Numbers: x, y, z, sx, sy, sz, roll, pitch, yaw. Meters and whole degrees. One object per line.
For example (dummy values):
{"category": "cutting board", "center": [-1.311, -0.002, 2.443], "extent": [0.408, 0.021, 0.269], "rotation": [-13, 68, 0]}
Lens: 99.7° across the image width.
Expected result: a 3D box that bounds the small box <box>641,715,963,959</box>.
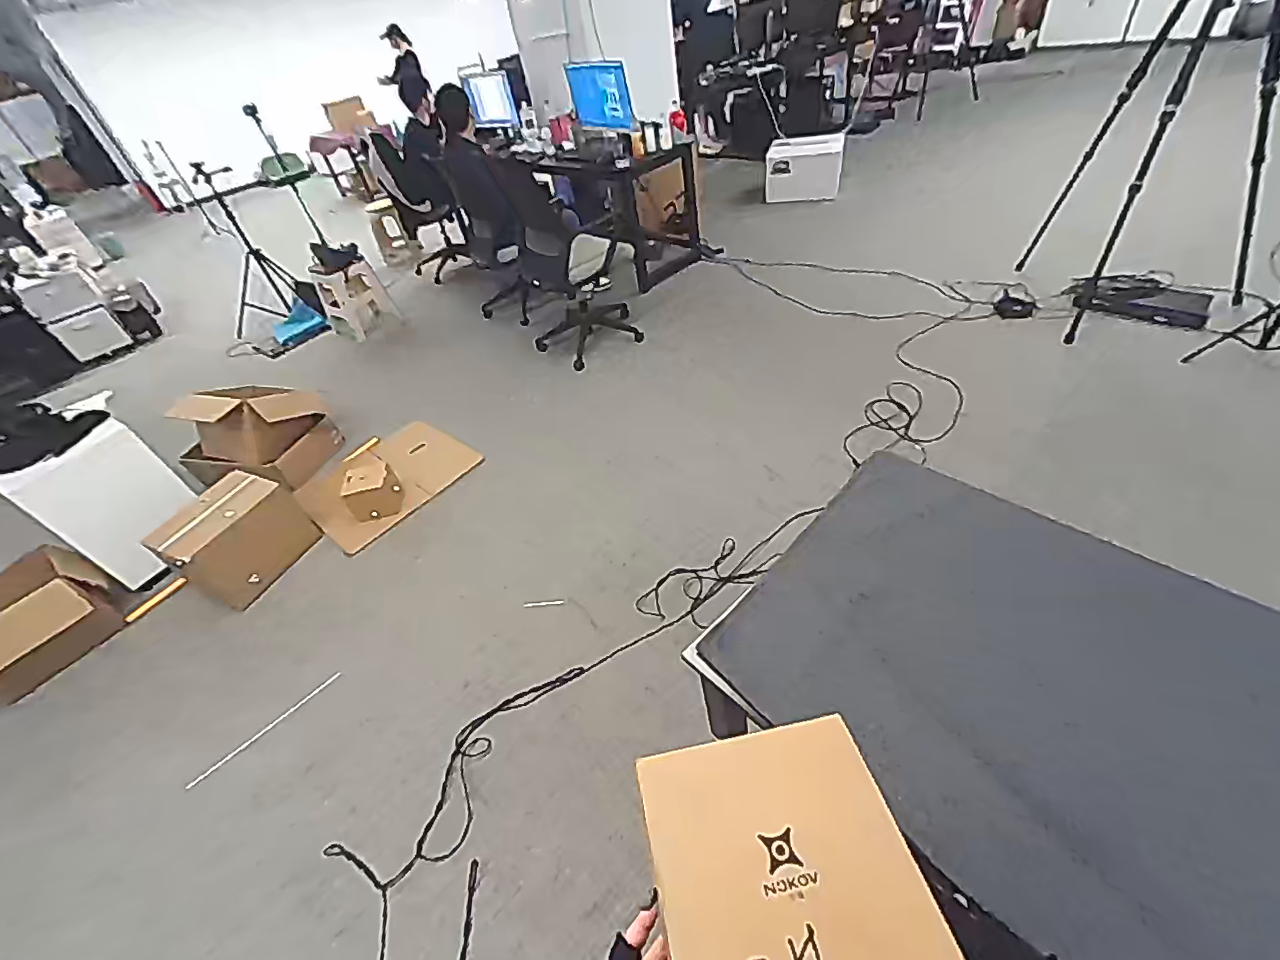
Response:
{"category": "small box", "center": [0.097, 0.310, 0.399], "extent": [0.168, 0.176, 0.179], "rotation": [-10, 40, -6]}
